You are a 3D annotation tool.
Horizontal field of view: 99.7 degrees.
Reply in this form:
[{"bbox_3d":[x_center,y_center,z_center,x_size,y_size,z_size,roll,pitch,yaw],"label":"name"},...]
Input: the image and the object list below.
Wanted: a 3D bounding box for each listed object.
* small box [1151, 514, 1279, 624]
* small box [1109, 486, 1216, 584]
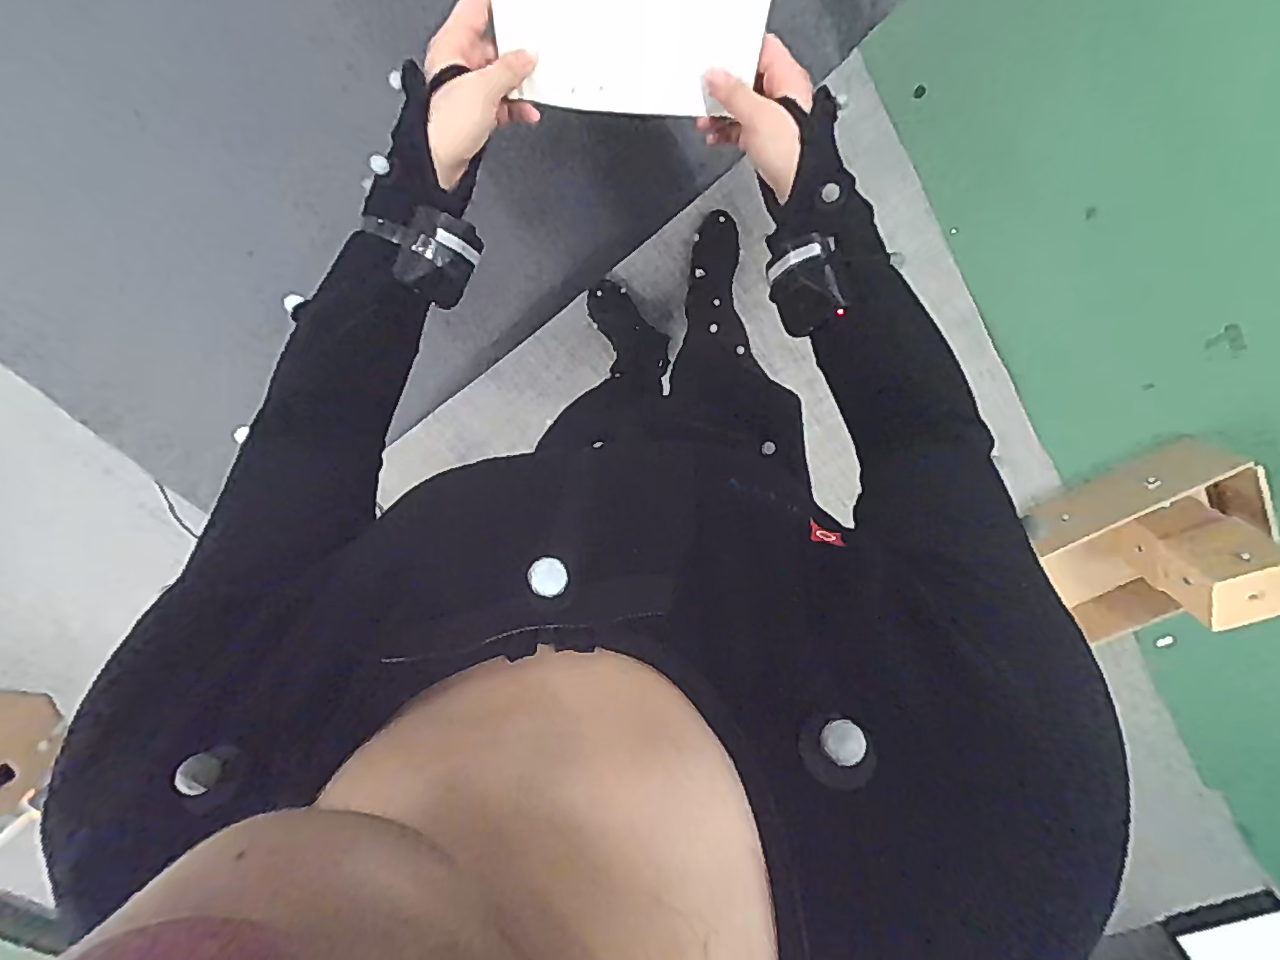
[{"bbox_3d":[1.392,0.212,1.310,0.179,0.176,0.168,-23,116,14],"label":"small box"},{"bbox_3d":[1.413,0.146,1.459,0.168,0.176,0.179,-18,117,12],"label":"small box"}]
